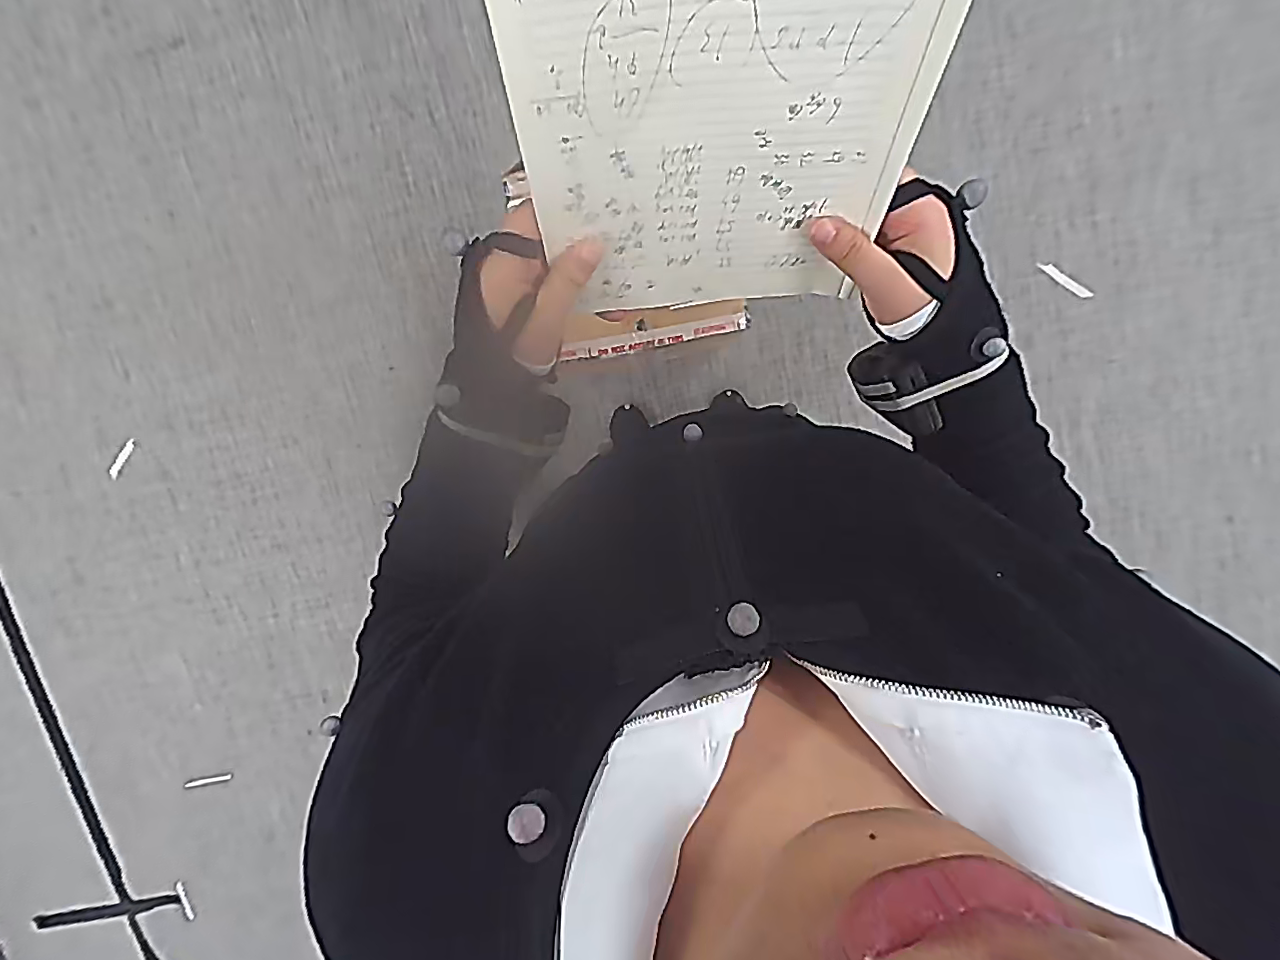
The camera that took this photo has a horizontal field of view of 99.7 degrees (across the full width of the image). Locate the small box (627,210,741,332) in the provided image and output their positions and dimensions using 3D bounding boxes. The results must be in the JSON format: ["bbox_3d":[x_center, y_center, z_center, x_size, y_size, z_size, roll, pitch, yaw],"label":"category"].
[{"bbox_3d":[0.081,-0.348,0.879,0.179,0.176,0.168,-14,99,2],"label":"small box"}]

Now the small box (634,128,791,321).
[{"bbox_3d":[0.085,-0.322,0.716,0.168,0.176,0.179,-11,100,1],"label":"small box"}]
